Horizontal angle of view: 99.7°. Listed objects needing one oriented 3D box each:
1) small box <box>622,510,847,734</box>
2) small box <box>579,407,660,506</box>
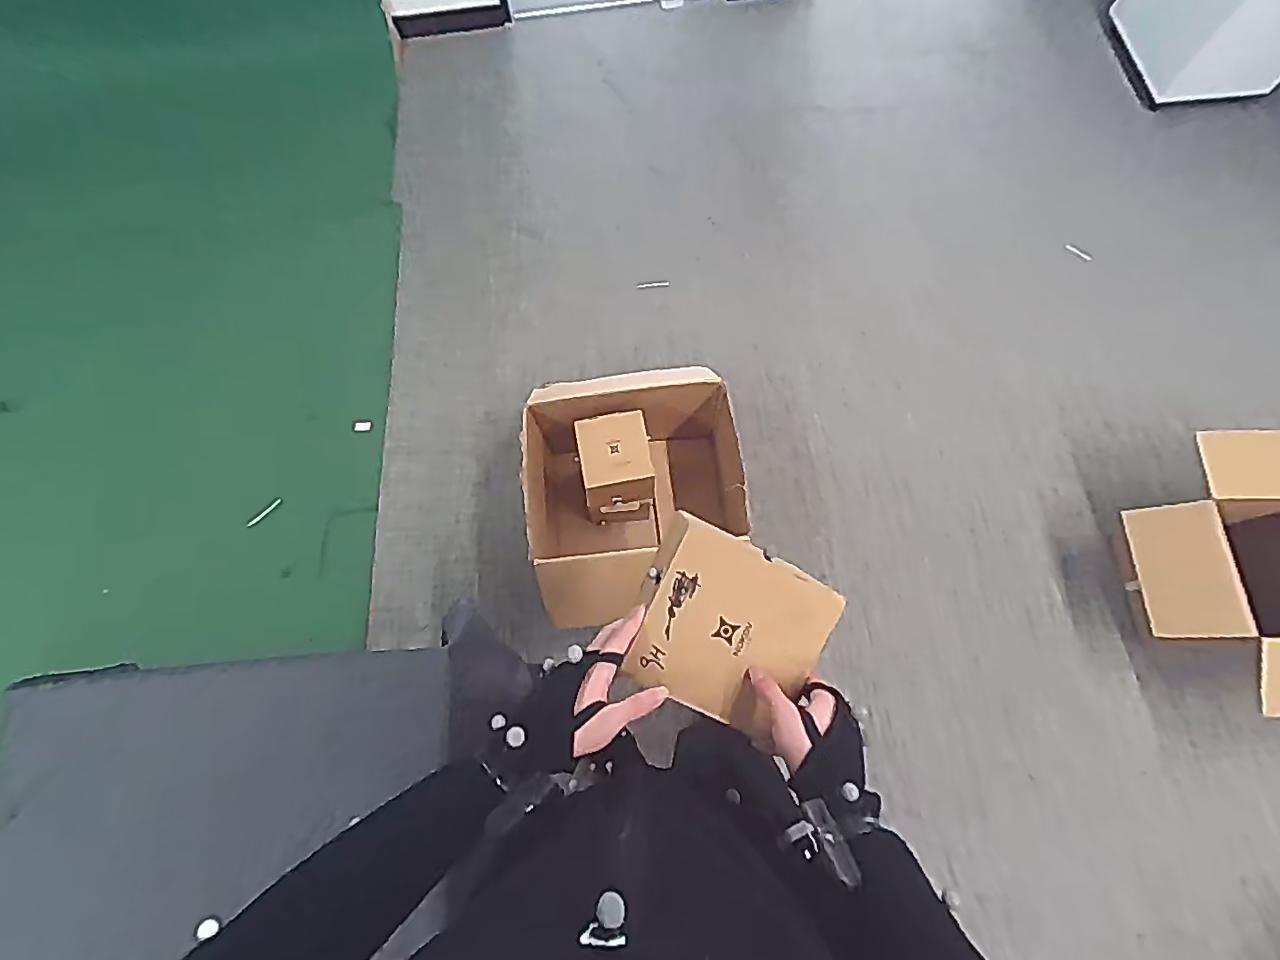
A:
[{"bbox_3d":[0.093,0.142,0.613,0.179,0.176,0.168,26,91,-1],"label":"small box"},{"bbox_3d":[-0.052,-0.053,1.322,0.168,0.176,0.179,-11,71,-4],"label":"small box"}]
